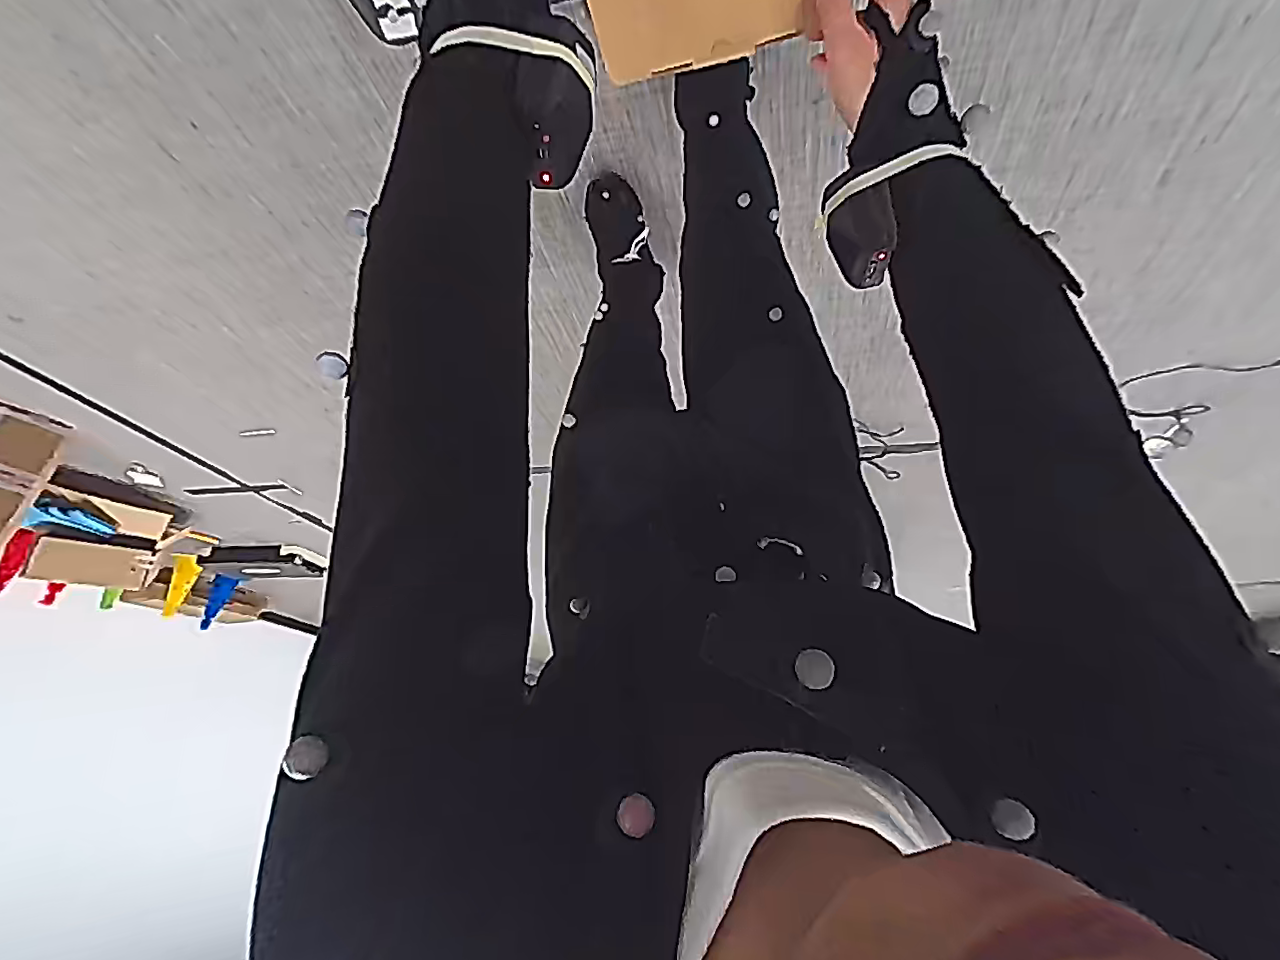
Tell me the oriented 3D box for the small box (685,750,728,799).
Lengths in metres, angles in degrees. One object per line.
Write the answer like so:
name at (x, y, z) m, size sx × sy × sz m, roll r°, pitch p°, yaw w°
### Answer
small box at (0.280, 1.223, 2.251) m, size 0.168 × 0.176 × 0.179 m, roll -4°, pitch 151°, yaw 10°

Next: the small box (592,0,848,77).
small box at (0.039, -0.412, 0.342) m, size 0.168 × 0.176 × 0.179 m, roll -5°, pitch 152°, yaw 14°
